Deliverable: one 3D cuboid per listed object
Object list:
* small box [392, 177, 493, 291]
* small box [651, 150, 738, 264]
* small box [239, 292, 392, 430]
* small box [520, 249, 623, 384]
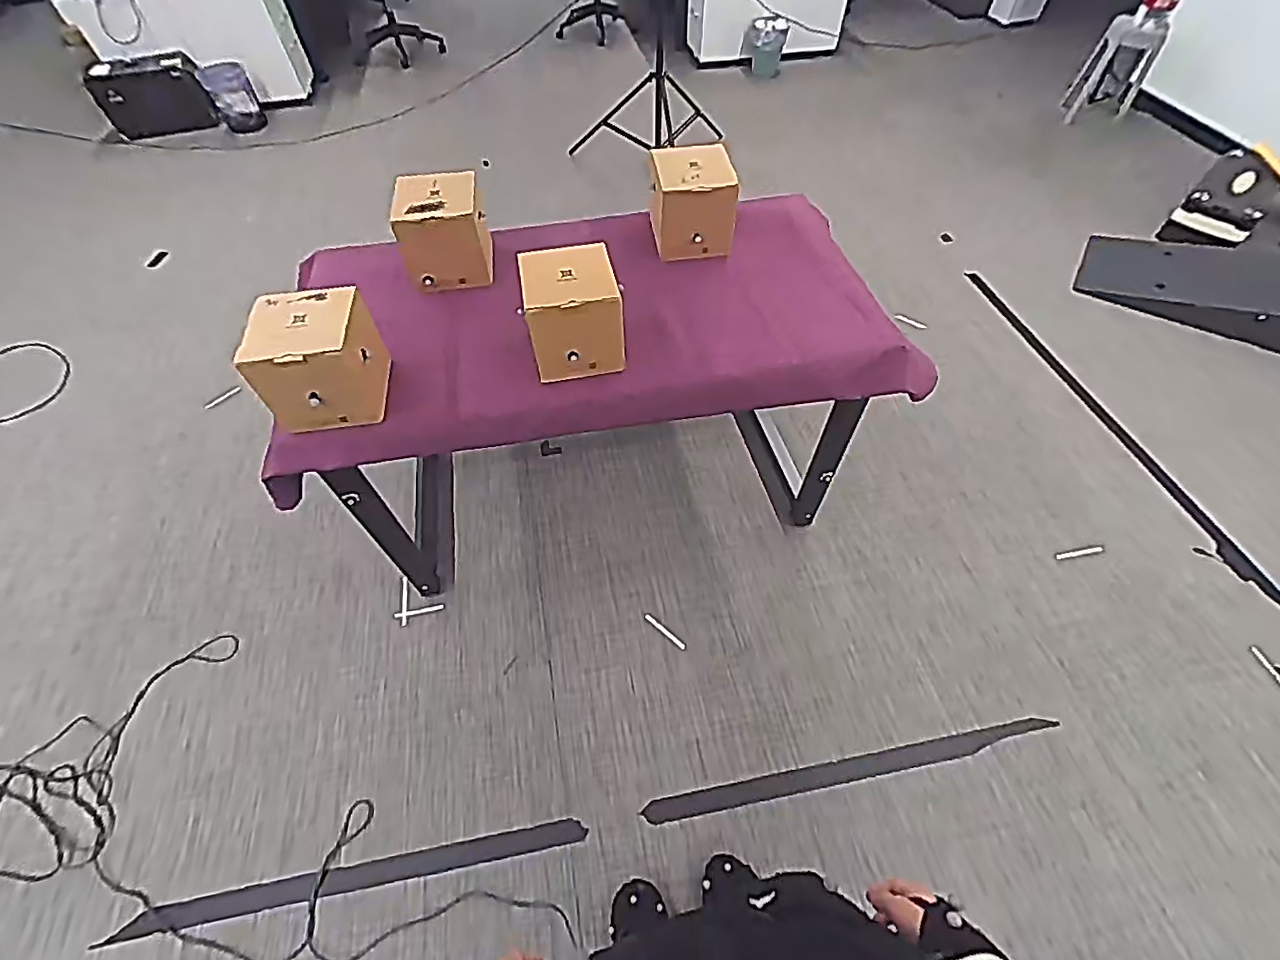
[{"bbox_3d":[-0.424,-0.533,1.189,0.168,0.176,0.179,-8,56,-5],"label":"small box"},{"bbox_3d":[0.116,-0.625,1.243,0.168,0.176,0.179,-7,58,-3],"label":"small box"},{"bbox_3d":[-0.558,-0.203,0.959,0.168,0.176,0.179,-8,55,-6],"label":"small box"},{"bbox_3d":[-0.128,-0.309,1.030,0.168,0.176,0.179,-10,54,-6],"label":"small box"}]
